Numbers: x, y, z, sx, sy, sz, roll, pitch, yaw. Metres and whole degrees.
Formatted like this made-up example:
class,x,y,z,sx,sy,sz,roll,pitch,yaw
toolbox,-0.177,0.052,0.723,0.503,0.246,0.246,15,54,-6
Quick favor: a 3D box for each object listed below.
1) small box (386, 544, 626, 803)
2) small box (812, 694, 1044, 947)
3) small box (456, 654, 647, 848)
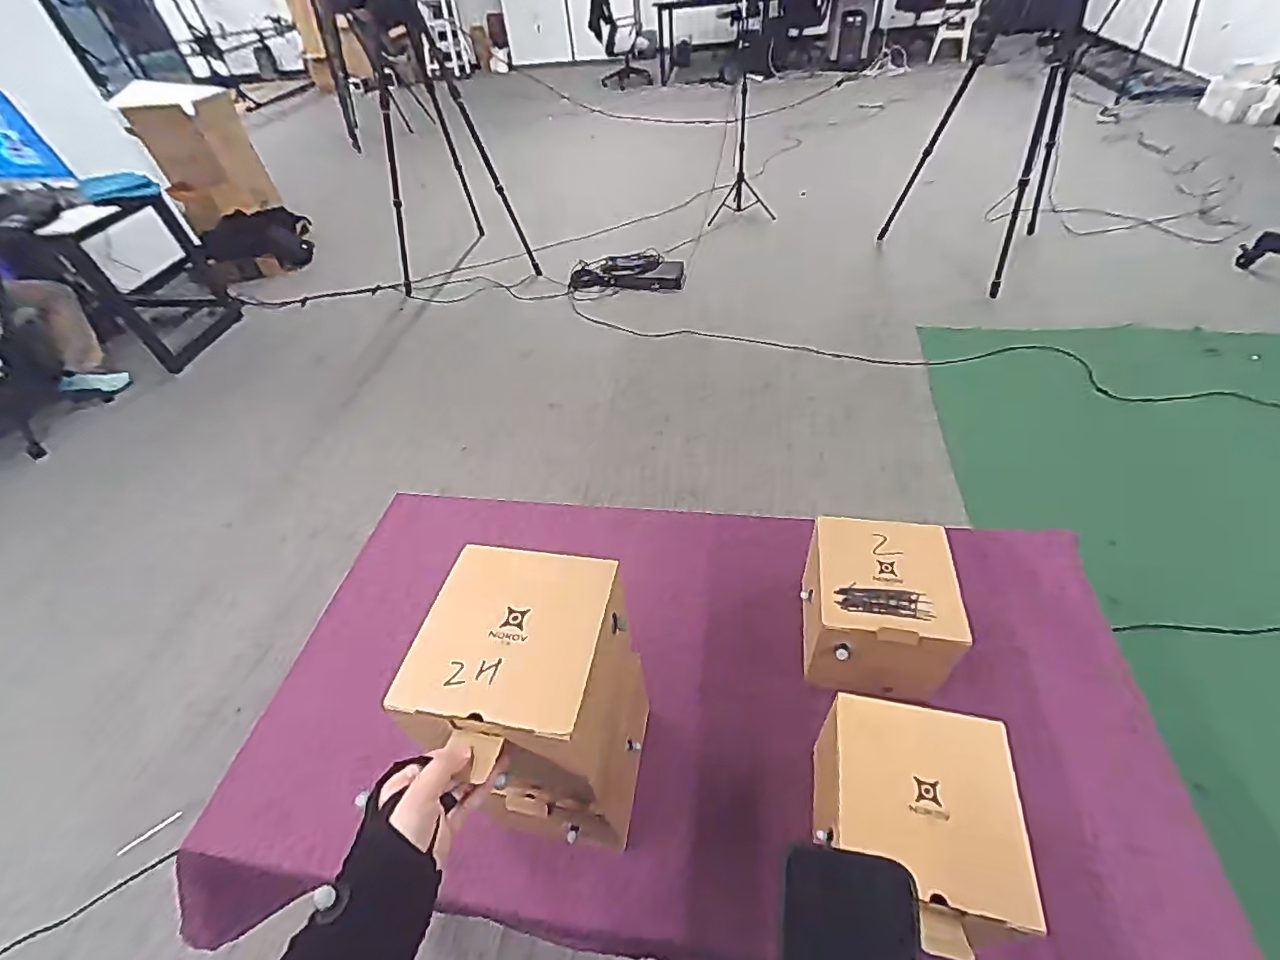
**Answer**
class,x,y,z,sx,sy,sz,roll,pitch,yaw
small box,-0.113,0.193,0.547,0.168,0.176,0.179,6,45,11
small box,0.279,0.359,0.573,0.168,0.176,0.179,6,48,13
small box,-0.089,0.319,0.657,0.168,0.176,0.179,6,47,11
